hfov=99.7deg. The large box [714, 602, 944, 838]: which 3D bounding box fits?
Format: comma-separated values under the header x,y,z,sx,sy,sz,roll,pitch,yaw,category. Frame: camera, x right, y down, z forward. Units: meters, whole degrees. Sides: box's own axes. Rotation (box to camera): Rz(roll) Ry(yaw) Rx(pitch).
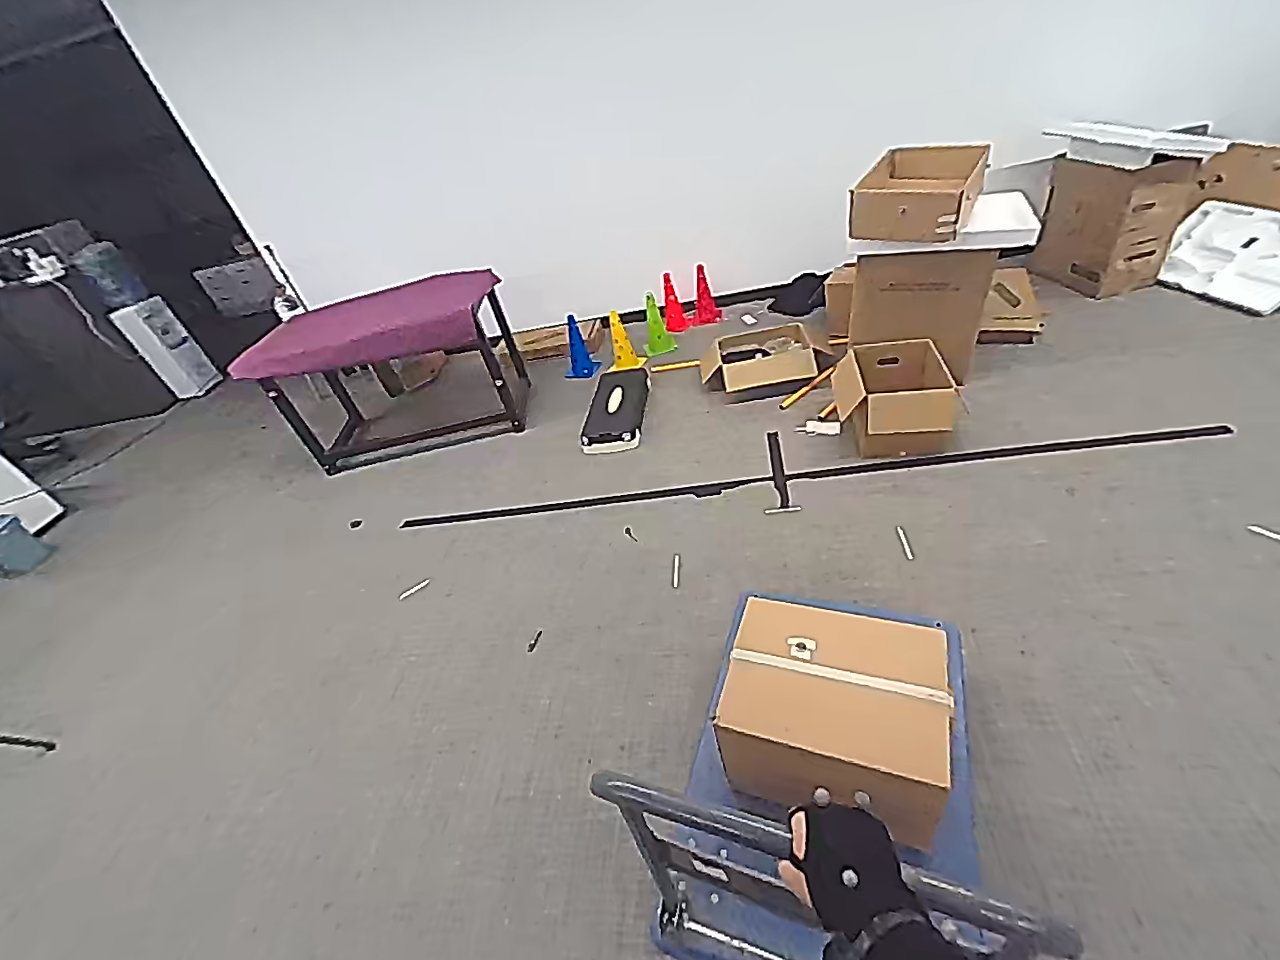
x,y,z,sx,sy,sz,roll,pitch,yaw,category
0.411,0.505,1.172,0.408,0.320,0.320,3,41,24,large box
